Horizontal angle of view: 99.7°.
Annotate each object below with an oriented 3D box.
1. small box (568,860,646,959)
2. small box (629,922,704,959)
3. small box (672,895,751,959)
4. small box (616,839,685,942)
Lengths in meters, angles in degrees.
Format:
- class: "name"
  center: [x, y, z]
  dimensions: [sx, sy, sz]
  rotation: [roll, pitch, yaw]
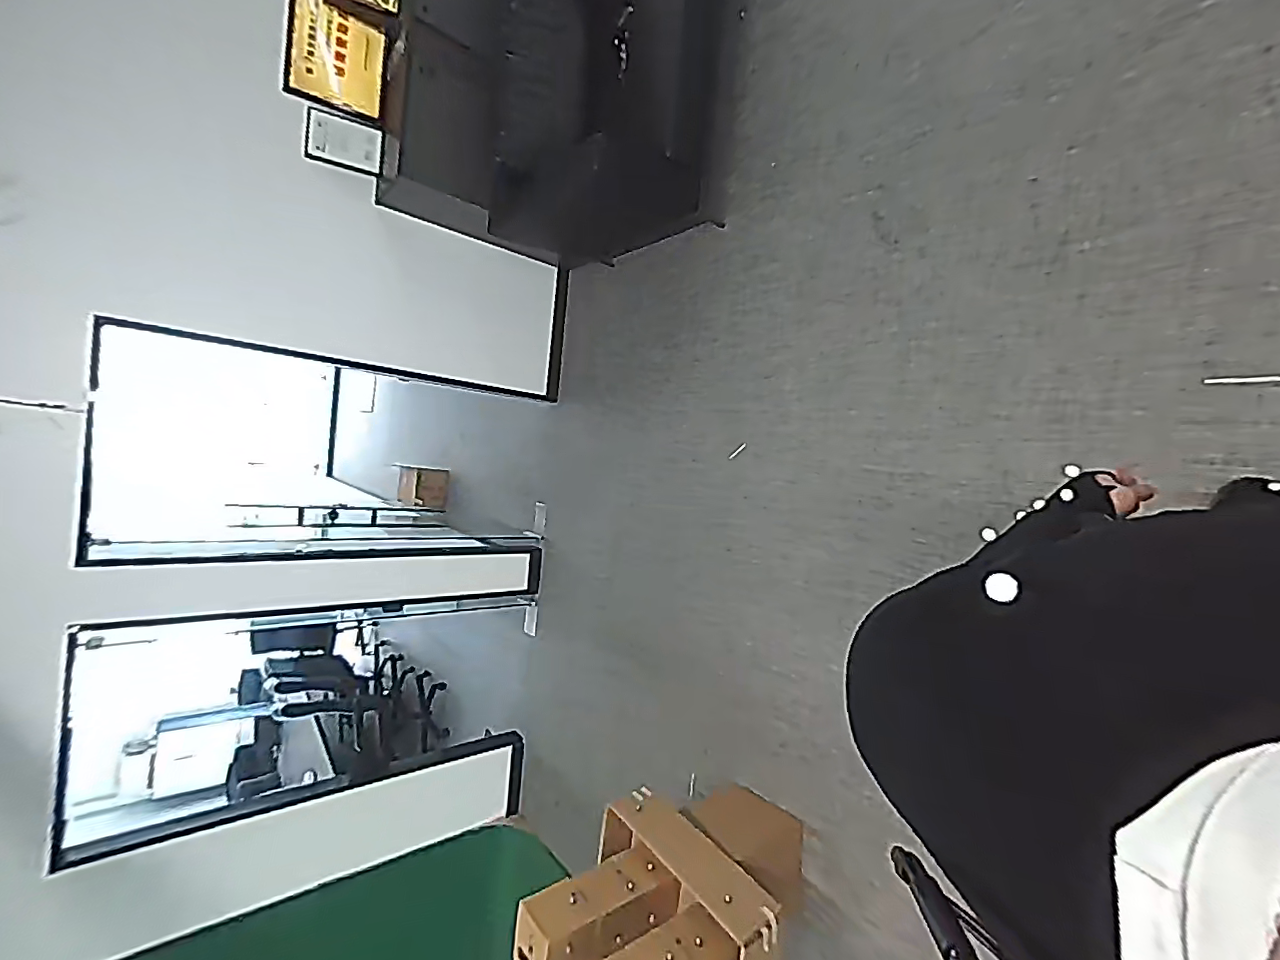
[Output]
- class: "small box"
  center: [-0.097, 1.307, 1.640]
  dimensions: [0.168, 0.176, 0.179]
  rotation: [10, 96, 50]
- class: "small box"
  center: [0.071, 1.336, 1.431]
  dimensions: [0.168, 0.176, 0.179]
  rotation: [17, 100, 51]
- class: "small box"
  center: [0.195, 1.348, 1.539]
  dimensions: [0.168, 0.176, 0.179]
  rotation: [15, 99, 50]
- class: "small box"
  center: [0.026, 1.314, 1.748]
  dimensions: [0.168, 0.176, 0.179]
  rotation: [12, 96, 50]
